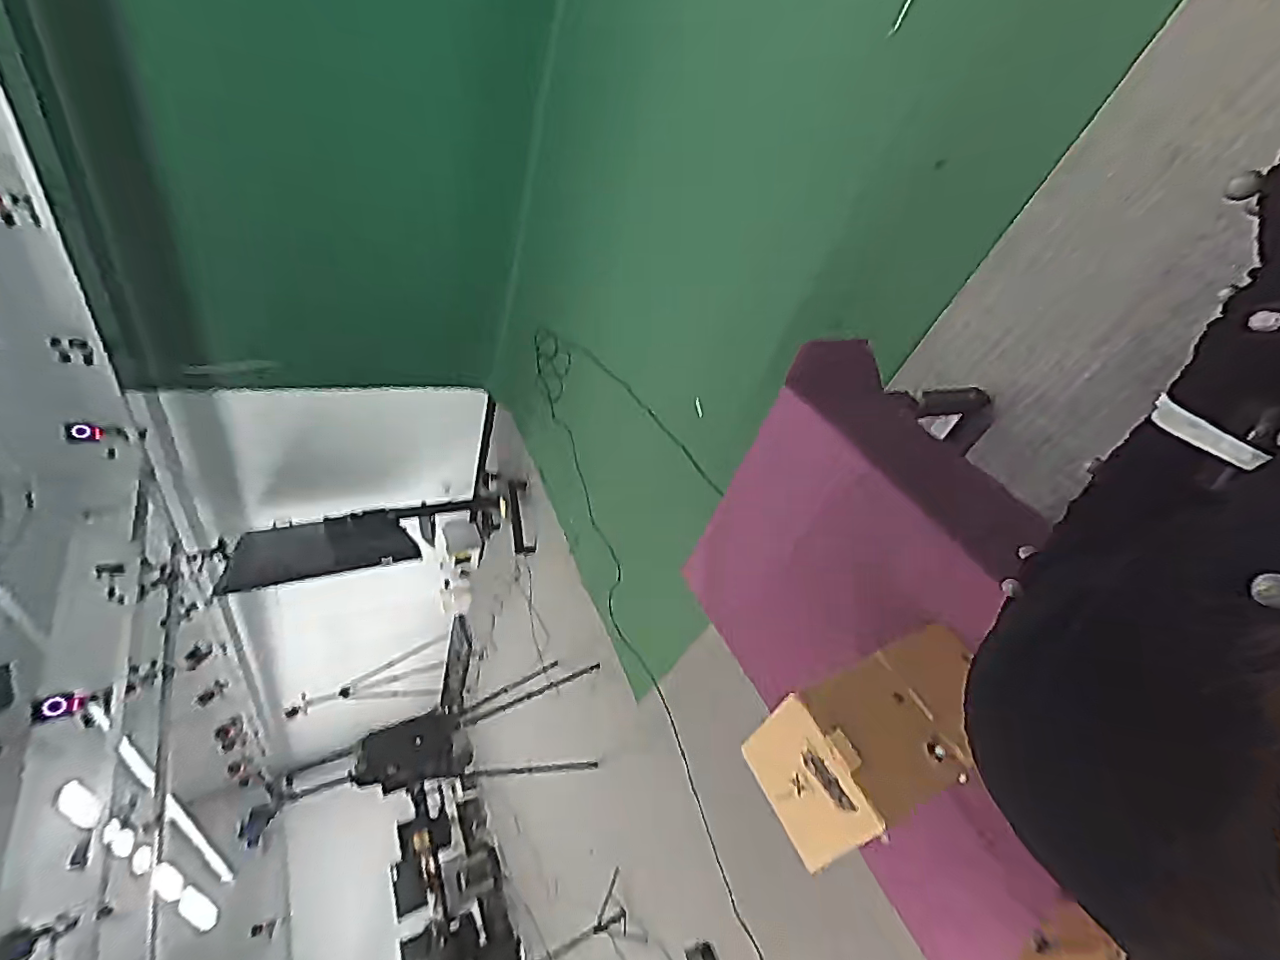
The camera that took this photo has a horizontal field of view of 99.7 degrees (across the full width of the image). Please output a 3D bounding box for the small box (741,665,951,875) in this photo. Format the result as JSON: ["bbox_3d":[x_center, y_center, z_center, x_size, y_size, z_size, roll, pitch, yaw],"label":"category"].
[{"bbox_3d":[0.273,0.376,0.720,0.168,0.176,0.179,57,141,36],"label":"small box"}]
